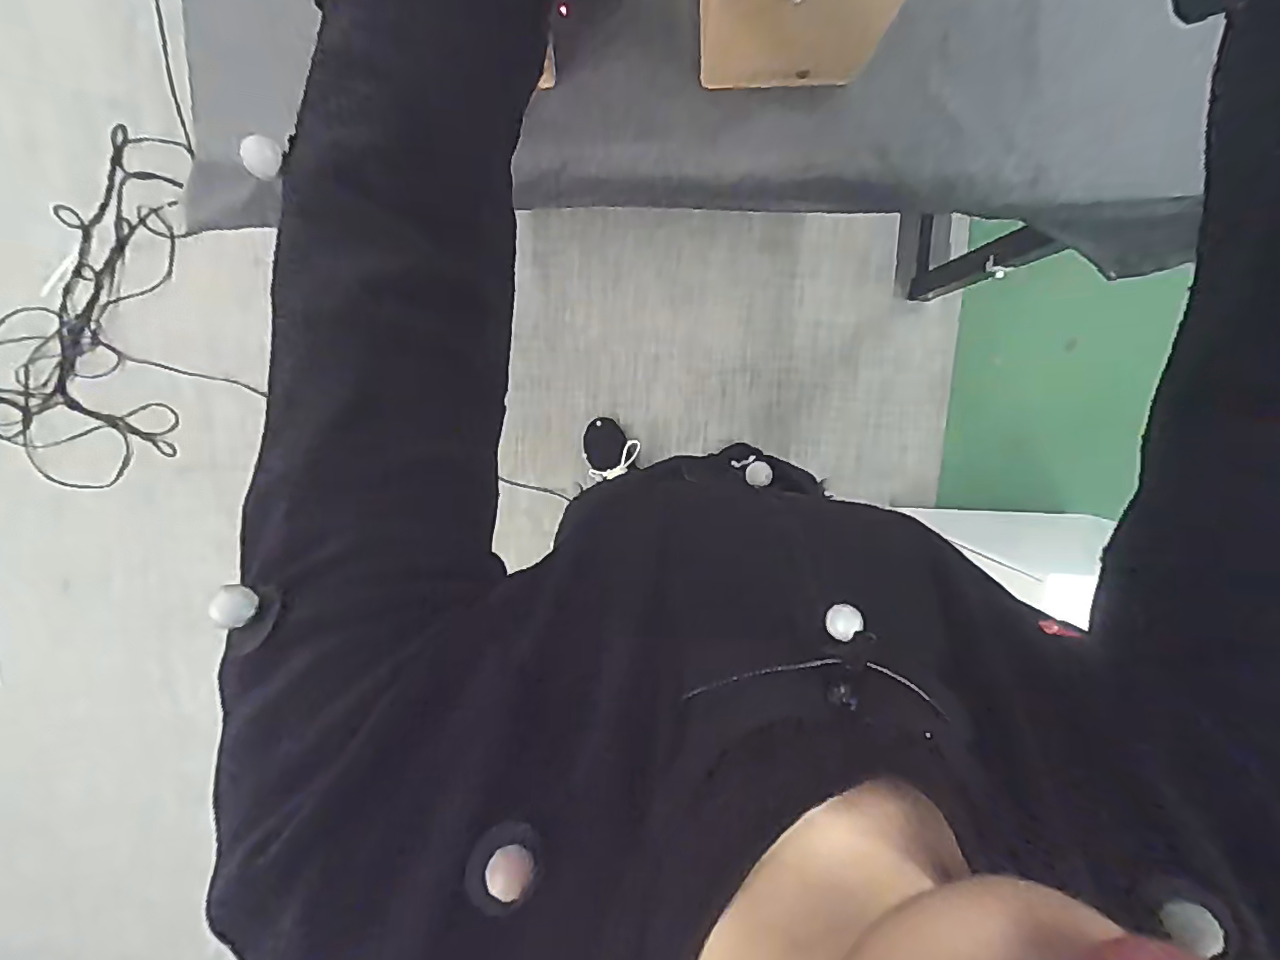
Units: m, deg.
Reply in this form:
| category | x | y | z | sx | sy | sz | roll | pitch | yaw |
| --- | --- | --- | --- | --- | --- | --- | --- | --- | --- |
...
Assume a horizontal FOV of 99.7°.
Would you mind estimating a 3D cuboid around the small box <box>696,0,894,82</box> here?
| category | x | y | z | sx | sy | sz | roll | pitch | yaw |
| --- | --- | --- | --- | --- | --- | --- | --- | --- | --- |
| small box | 0.140 | -0.507 | 0.493 | 0.168 | 0.176 | 0.179 | -2 | 97 | 0 |

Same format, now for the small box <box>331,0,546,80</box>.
| category | x | y | z | sx | sy | sz | roll | pitch | yaw |
| --- | --- | --- | --- | --- | --- | --- | --- | --- | --- |
| small box | -0.184 | -0.499 | 0.492 | 0.168 | 0.176 | 0.179 | -3 | 98 | 0 |
